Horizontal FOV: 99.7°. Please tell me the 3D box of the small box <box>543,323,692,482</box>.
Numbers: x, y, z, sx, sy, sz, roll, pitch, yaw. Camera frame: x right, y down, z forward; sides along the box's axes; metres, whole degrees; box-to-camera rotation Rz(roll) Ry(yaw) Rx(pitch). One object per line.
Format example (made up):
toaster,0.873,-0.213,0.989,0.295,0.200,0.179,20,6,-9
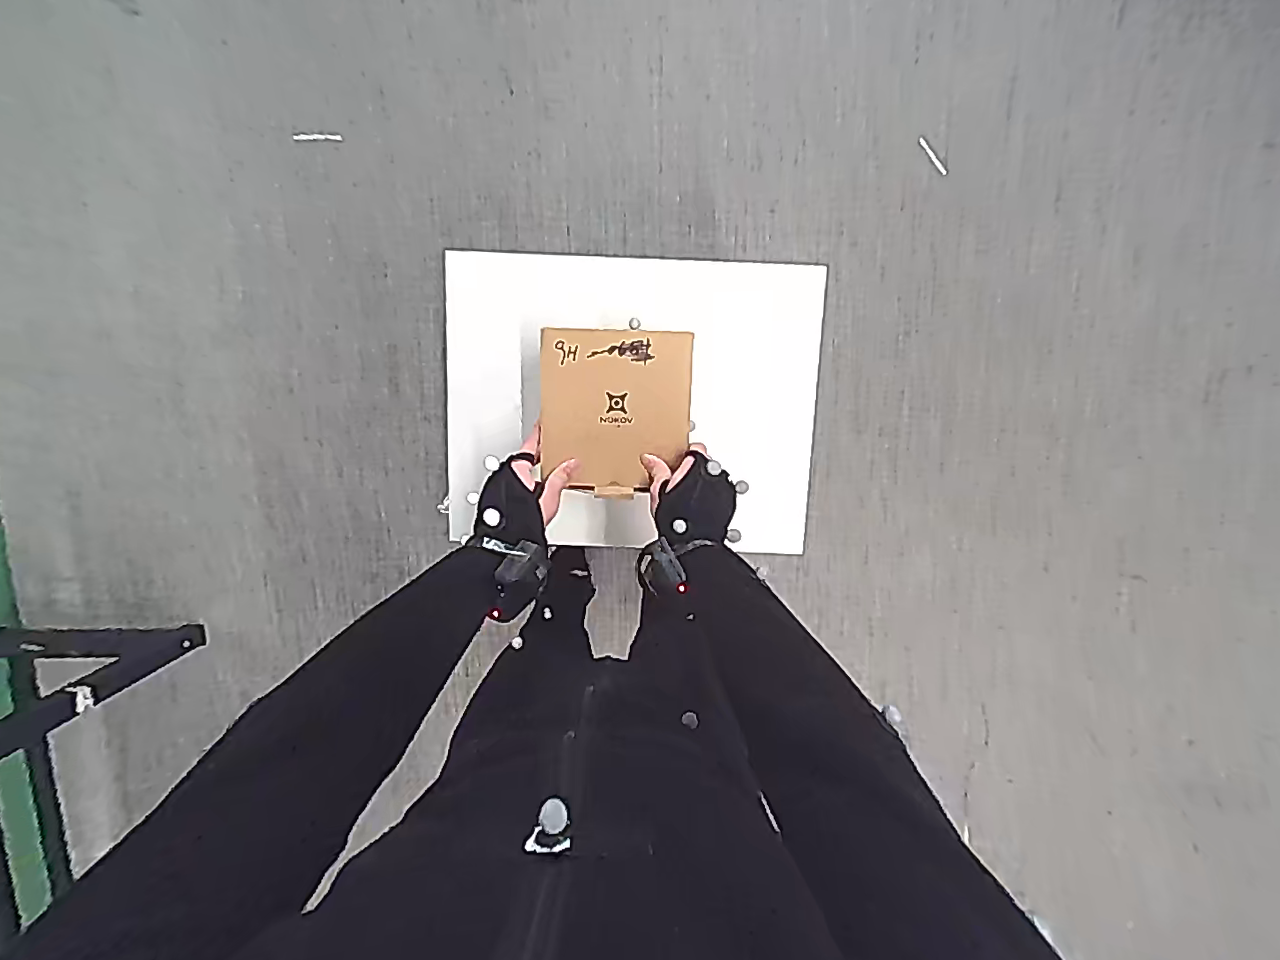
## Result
small box,-0.023,-0.097,0.678,0.168,0.176,0.179,0,98,0
